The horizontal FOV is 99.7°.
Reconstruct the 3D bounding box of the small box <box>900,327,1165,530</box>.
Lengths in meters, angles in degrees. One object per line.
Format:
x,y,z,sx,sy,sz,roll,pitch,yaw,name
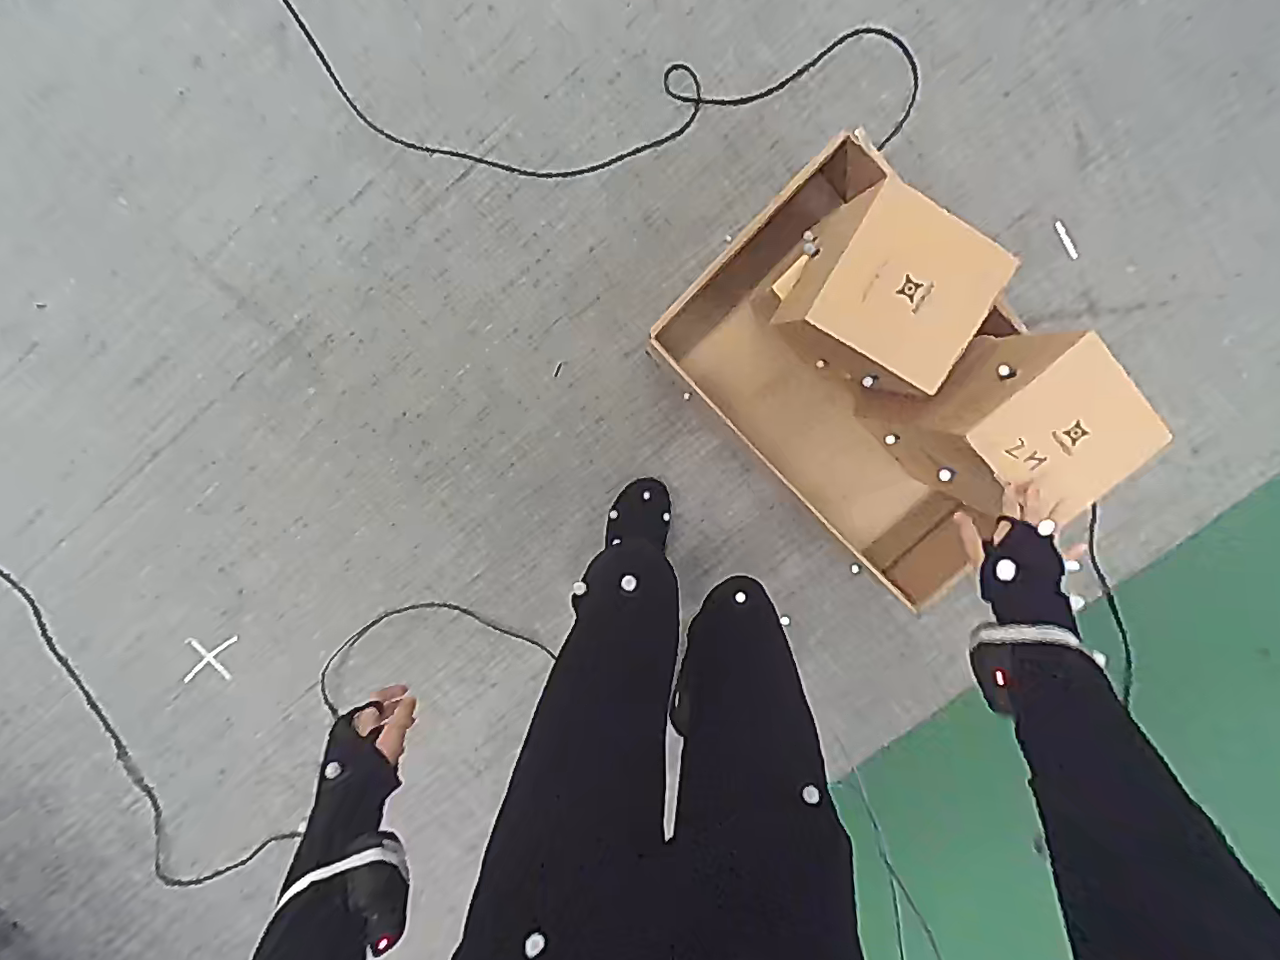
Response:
0.477,-0.072,0.687,0.179,0.176,0.168,-43,99,9,small box
